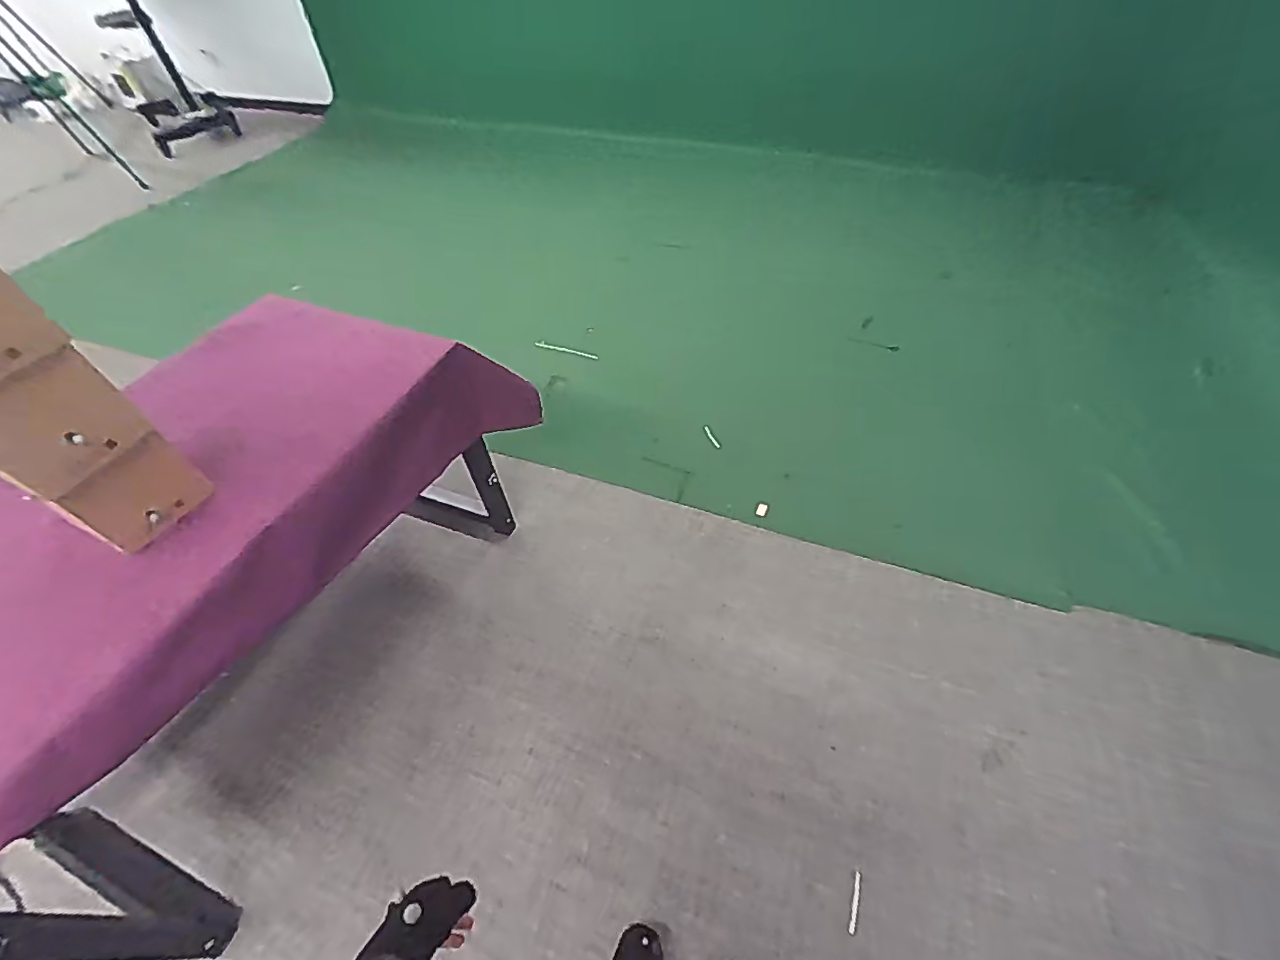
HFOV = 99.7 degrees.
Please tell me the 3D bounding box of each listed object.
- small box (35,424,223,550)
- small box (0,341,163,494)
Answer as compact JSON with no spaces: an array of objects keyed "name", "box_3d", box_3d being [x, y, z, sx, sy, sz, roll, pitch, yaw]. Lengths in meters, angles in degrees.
[{"name":"small box","box_3d":[-0.875,-0.007,0.916,0.179,0.176,0.168,20,54,18]},{"name":"small box","box_3d":[-0.870,-0.105,0.784,0.179,0.176,0.168,18,54,18]}]
